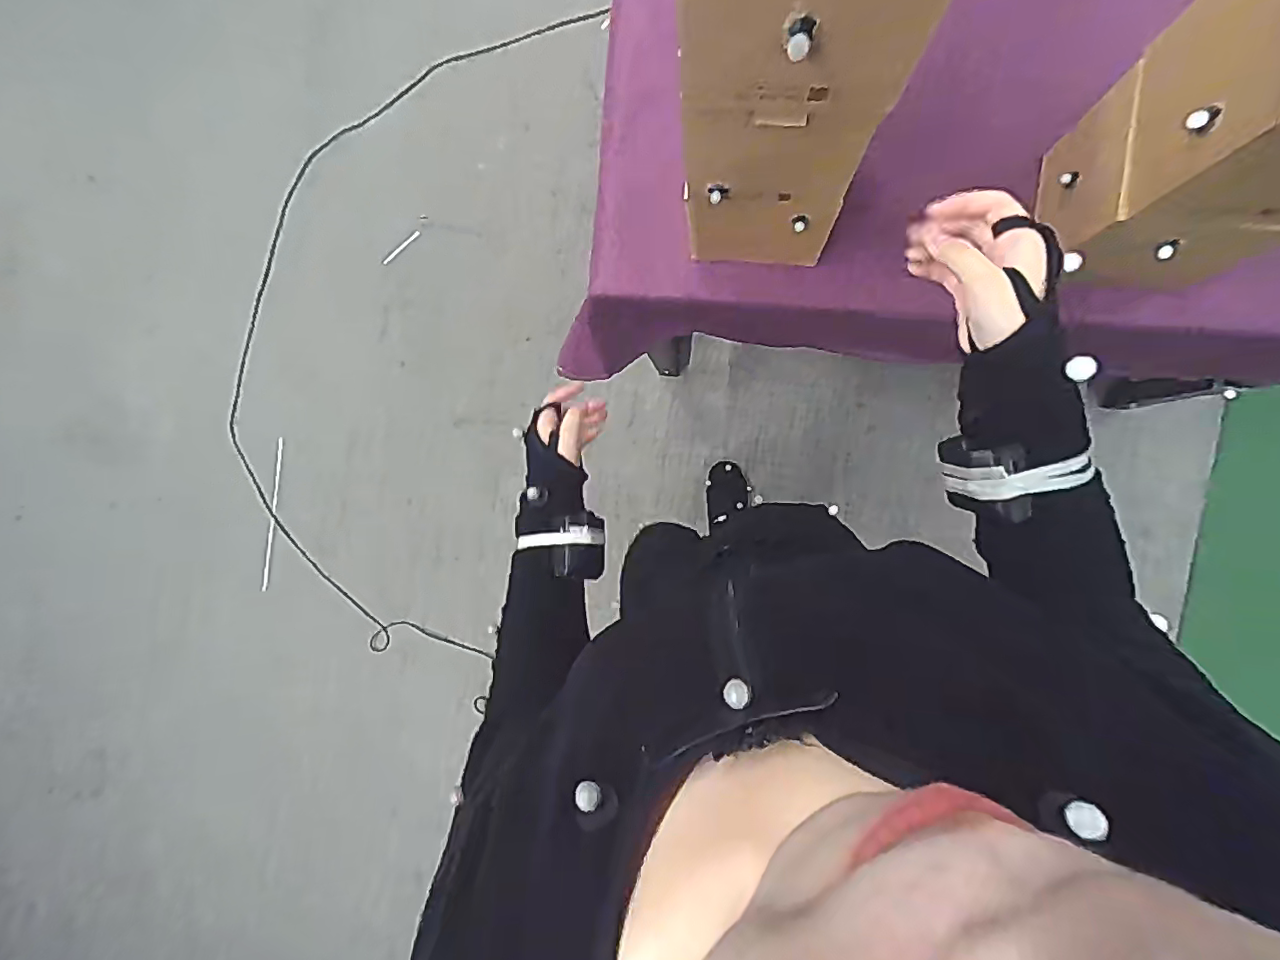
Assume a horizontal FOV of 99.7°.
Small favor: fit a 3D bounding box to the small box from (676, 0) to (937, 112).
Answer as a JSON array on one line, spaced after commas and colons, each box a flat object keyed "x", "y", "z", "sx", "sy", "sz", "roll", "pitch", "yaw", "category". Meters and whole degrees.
[{"x": 0.115, "y": -0.378, "z": 0.353, "sx": 0.168, "sy": 0.176, "sz": 0.179, "roll": 6, "pitch": 92, "yaw": 6, "category": "small box"}]

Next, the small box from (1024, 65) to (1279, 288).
[{"x": 0.583, "y": -0.332, "z": 0.620, "sx": 0.179, "sy": 0.176, "sz": 0.168, "roll": 8, "pitch": 92, "yaw": 8, "category": "small box"}]

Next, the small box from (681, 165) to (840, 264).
[{"x": 0.151, "y": -0.386, "z": 0.680, "sx": 0.179, "sy": 0.176, "sz": 0.168, "roll": 6, "pitch": 91, "yaw": 7, "category": "small box"}]

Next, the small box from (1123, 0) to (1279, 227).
[{"x": 0.563, "y": -0.337, "z": 0.458, "sx": 0.168, "sy": 0.176, "sz": 0.179, "roll": 6, "pitch": 90, "yaw": 7, "category": "small box"}]

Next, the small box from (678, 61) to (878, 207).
[{"x": 0.131, "y": -0.387, "z": 0.517, "sx": 0.168, "sy": 0.176, "sz": 0.179, "roll": 6, "pitch": 90, "yaw": 7, "category": "small box"}]
